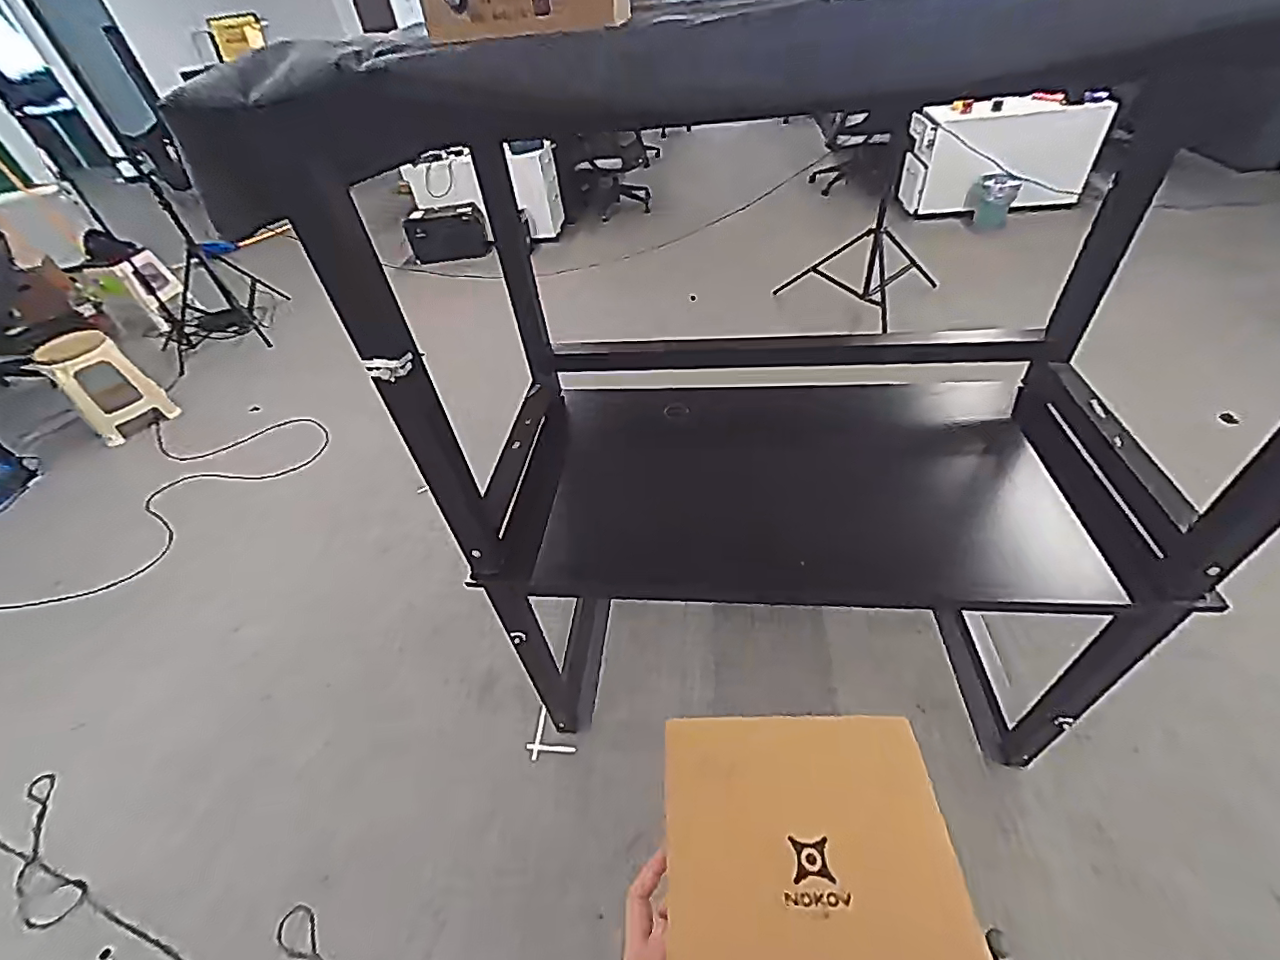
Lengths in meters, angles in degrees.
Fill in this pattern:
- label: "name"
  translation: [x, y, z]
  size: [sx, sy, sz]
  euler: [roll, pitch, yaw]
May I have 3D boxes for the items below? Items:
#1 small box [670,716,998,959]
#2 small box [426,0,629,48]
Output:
- label: "small box"
  translation: [0.103, 0.279, 0.357]
  size: [0.168, 0.176, 0.179]
  euler: [-2, 42, 3]
- label: "small box"
  translation: [-0.101, -0.494, 0.474]
  size: [0.168, 0.176, 0.179]
  euler: [-1, 42, 5]
